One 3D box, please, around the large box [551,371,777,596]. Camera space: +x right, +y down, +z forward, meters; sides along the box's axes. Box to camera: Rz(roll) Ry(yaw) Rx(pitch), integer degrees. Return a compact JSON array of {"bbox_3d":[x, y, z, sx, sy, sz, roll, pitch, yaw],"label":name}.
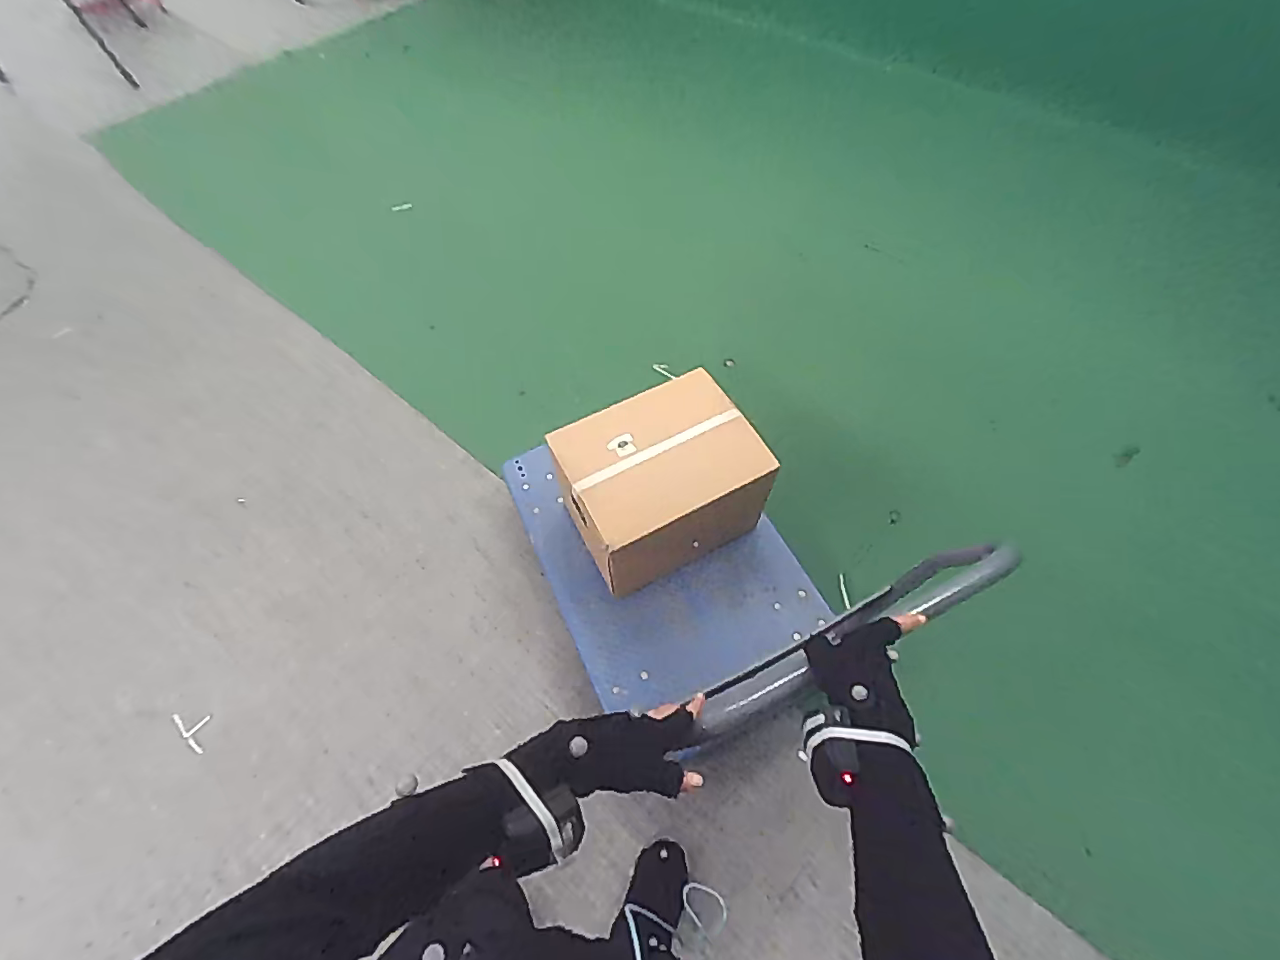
[{"bbox_3d":[0.051,0.016,1.286,0.408,0.320,0.320,-26,63,-13],"label":"large box"}]
